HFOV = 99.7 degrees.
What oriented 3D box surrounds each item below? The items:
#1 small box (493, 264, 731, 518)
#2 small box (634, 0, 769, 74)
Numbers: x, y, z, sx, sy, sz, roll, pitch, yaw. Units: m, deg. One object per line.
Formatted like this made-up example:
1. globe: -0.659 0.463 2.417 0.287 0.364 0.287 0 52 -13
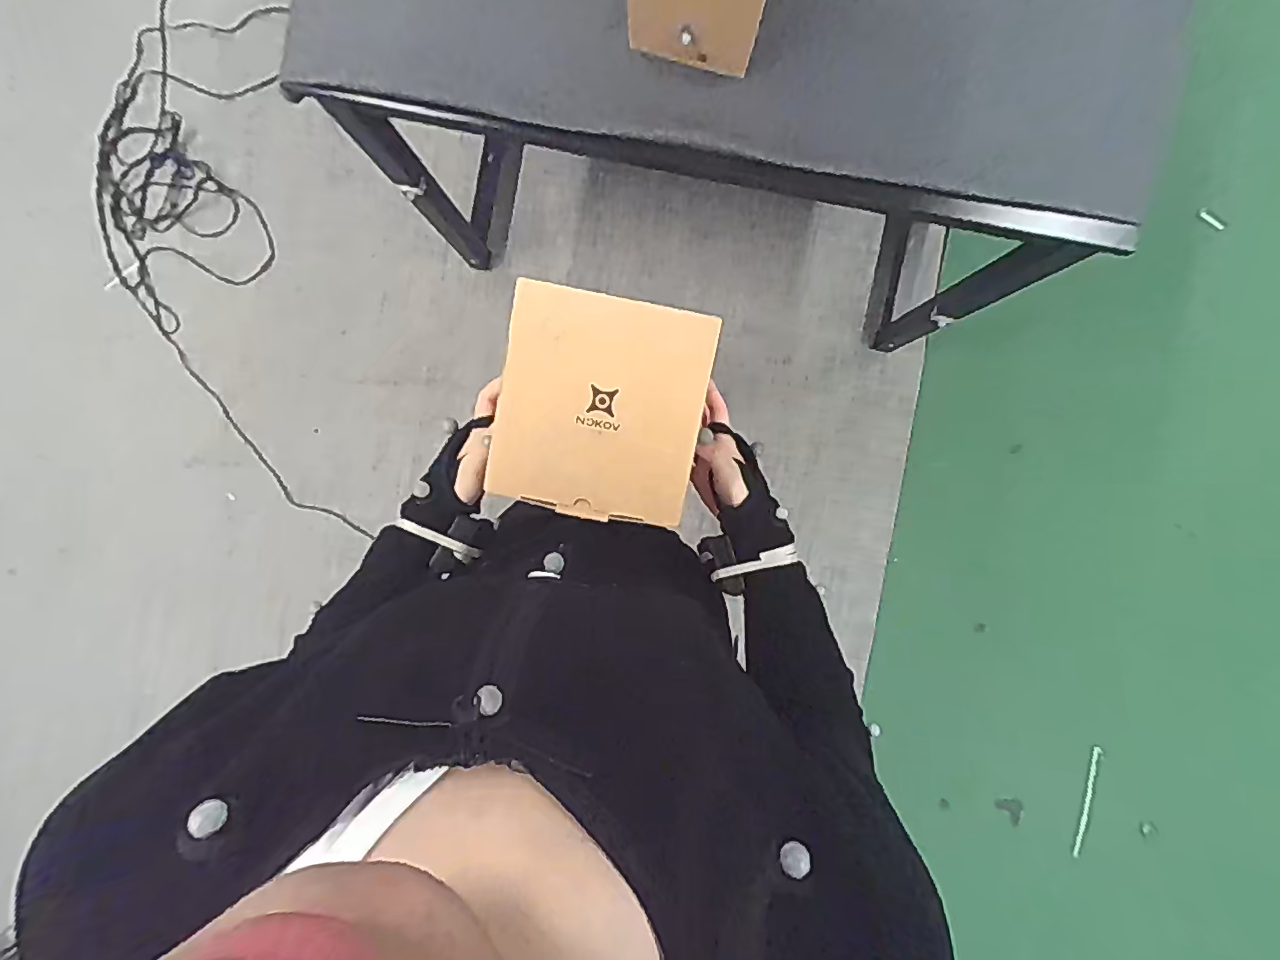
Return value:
1. small box: -0.026 -0.078 0.507 0.168 0.176 0.179 10 98 -3
2. small box: 0.088 -0.654 0.655 0.168 0.176 0.179 16 91 1
